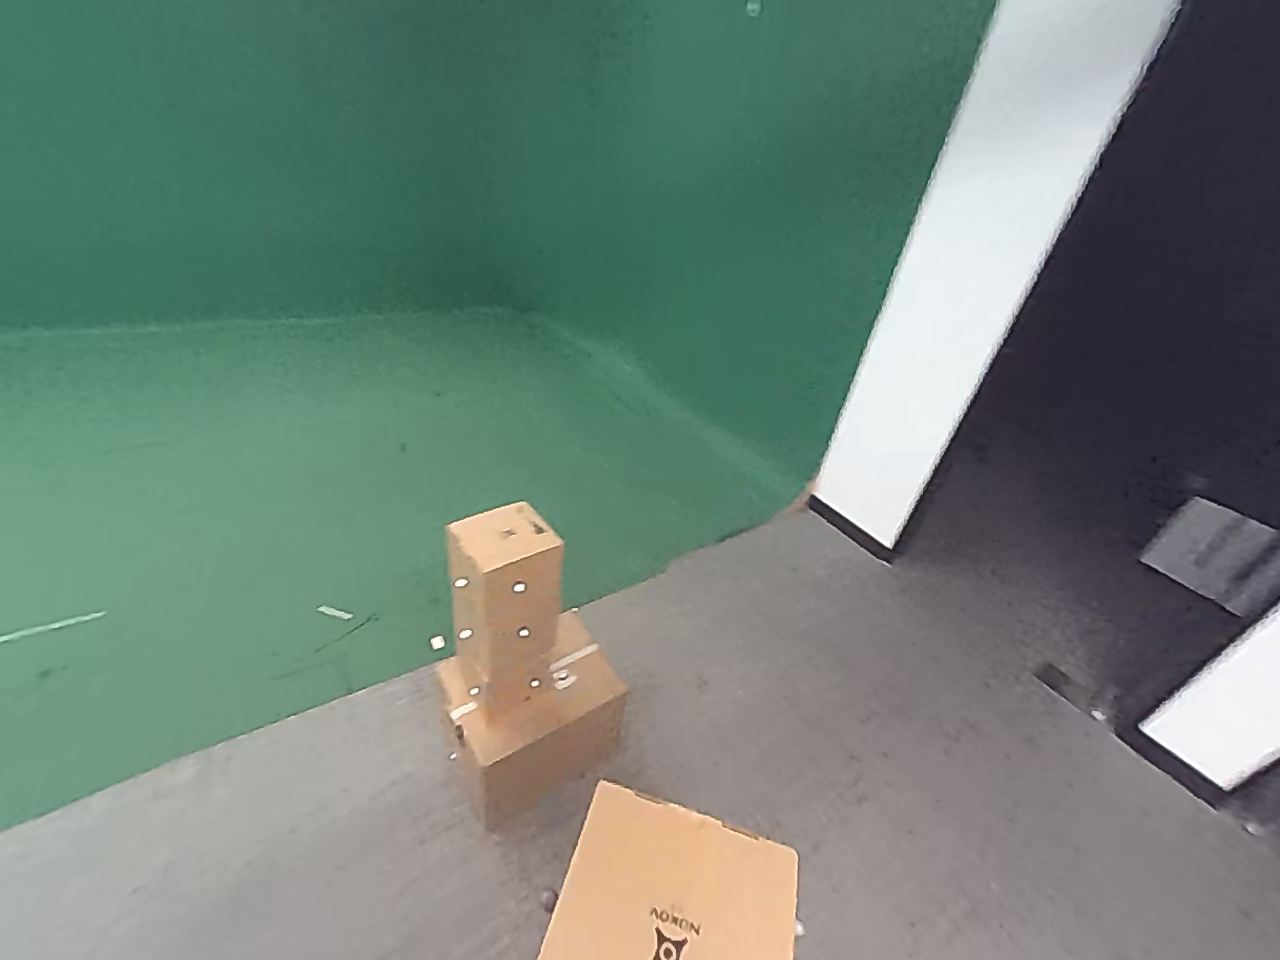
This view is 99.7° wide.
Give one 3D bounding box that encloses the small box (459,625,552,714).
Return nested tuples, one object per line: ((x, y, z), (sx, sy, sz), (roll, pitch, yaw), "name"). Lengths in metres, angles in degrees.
((-0.328, 0.439, 1.322), (0.168, 0.176, 0.179), (-16, 41, -34), "small box")

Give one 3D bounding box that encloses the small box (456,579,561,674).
((-0.299, 0.305, 1.233), (0.179, 0.176, 0.168), (-19, 44, -37), "small box")

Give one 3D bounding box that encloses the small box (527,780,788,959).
((0.007, 0.378, 0.413), (0.168, 0.176, 0.179), (14, 35, 9), "small box")

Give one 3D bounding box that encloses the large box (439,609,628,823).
((-0.296, 0.630, 1.486), (0.408, 0.320, 0.320), (-15, 42, -33), "large box")

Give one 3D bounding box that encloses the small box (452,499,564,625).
((-0.276, 0.172, 1.139), (0.179, 0.176, 0.168), (-19, 44, -34), "small box")
